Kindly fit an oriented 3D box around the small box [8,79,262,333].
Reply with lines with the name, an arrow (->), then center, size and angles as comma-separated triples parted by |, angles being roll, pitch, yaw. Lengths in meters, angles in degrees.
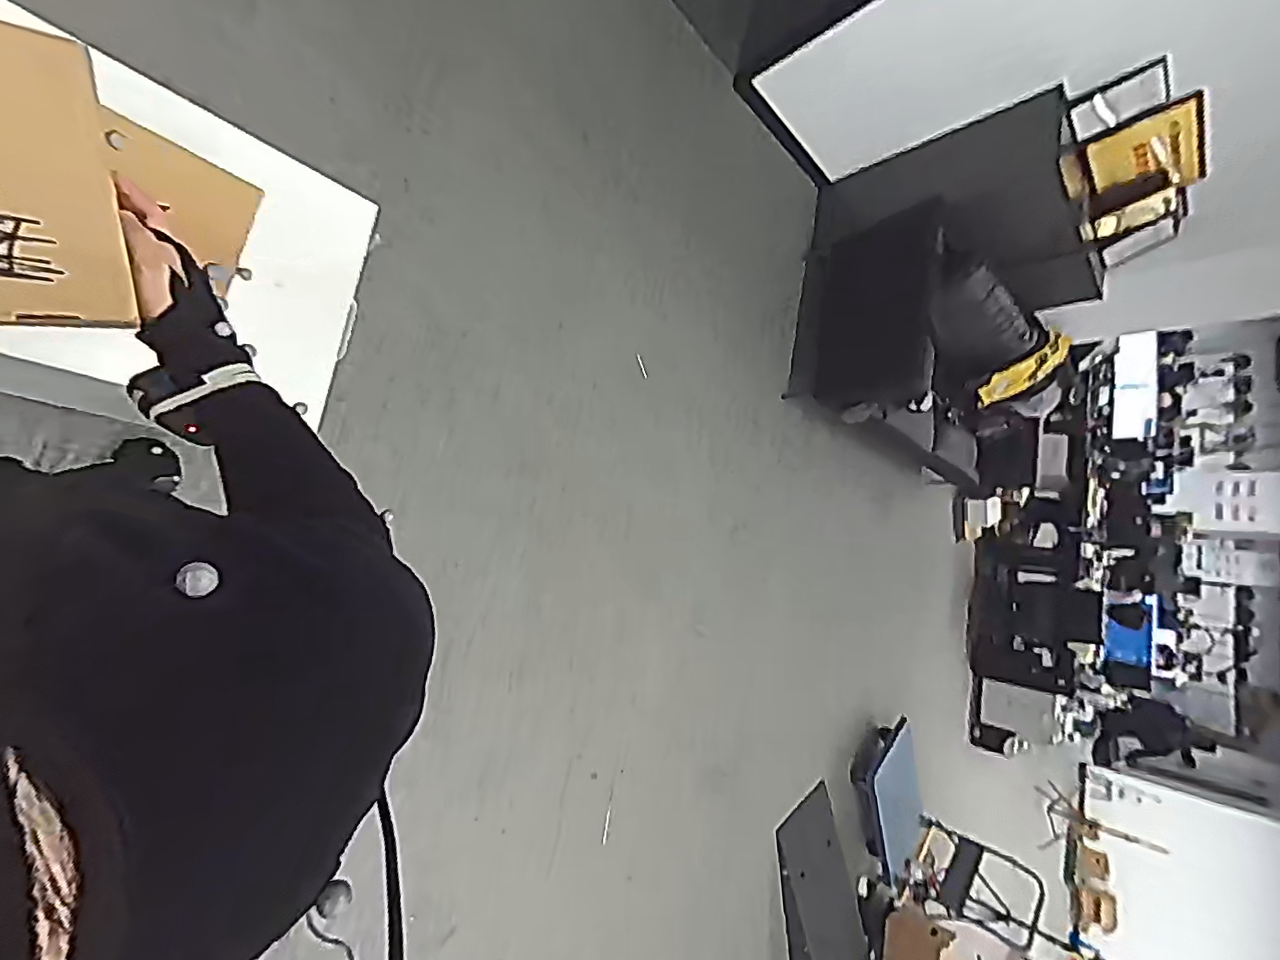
small box -> -0.578, -0.297, 0.631 | 0.168, 0.176, 0.179 | 21, 76, -42
